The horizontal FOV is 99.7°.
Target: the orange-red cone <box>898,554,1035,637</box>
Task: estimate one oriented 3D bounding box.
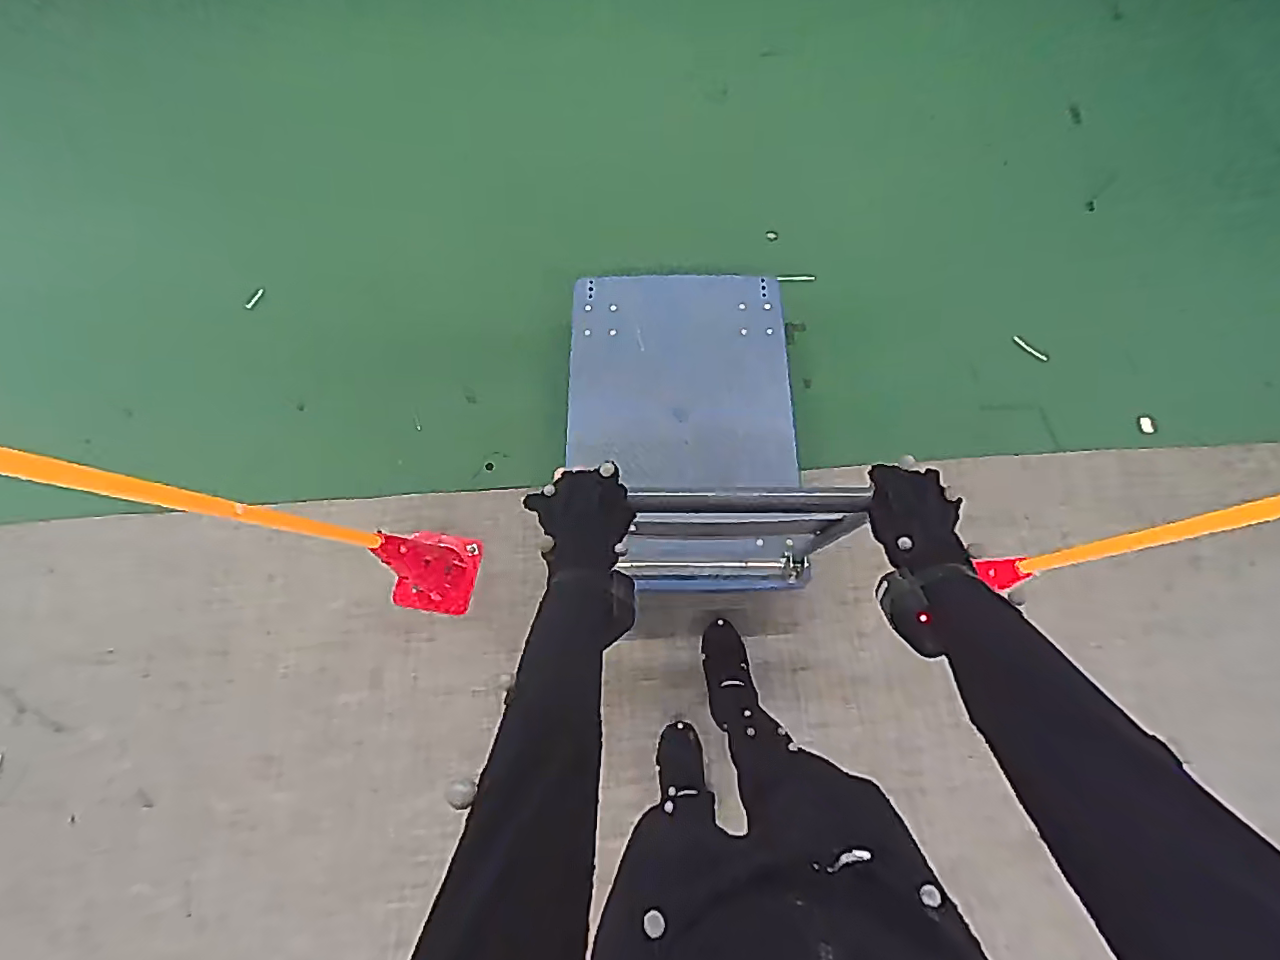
[{"bbox_3d":[0.763,0.238,1.229,0.198,0.360,0.199,7,71,3],"label":"orange-red cone"}]
